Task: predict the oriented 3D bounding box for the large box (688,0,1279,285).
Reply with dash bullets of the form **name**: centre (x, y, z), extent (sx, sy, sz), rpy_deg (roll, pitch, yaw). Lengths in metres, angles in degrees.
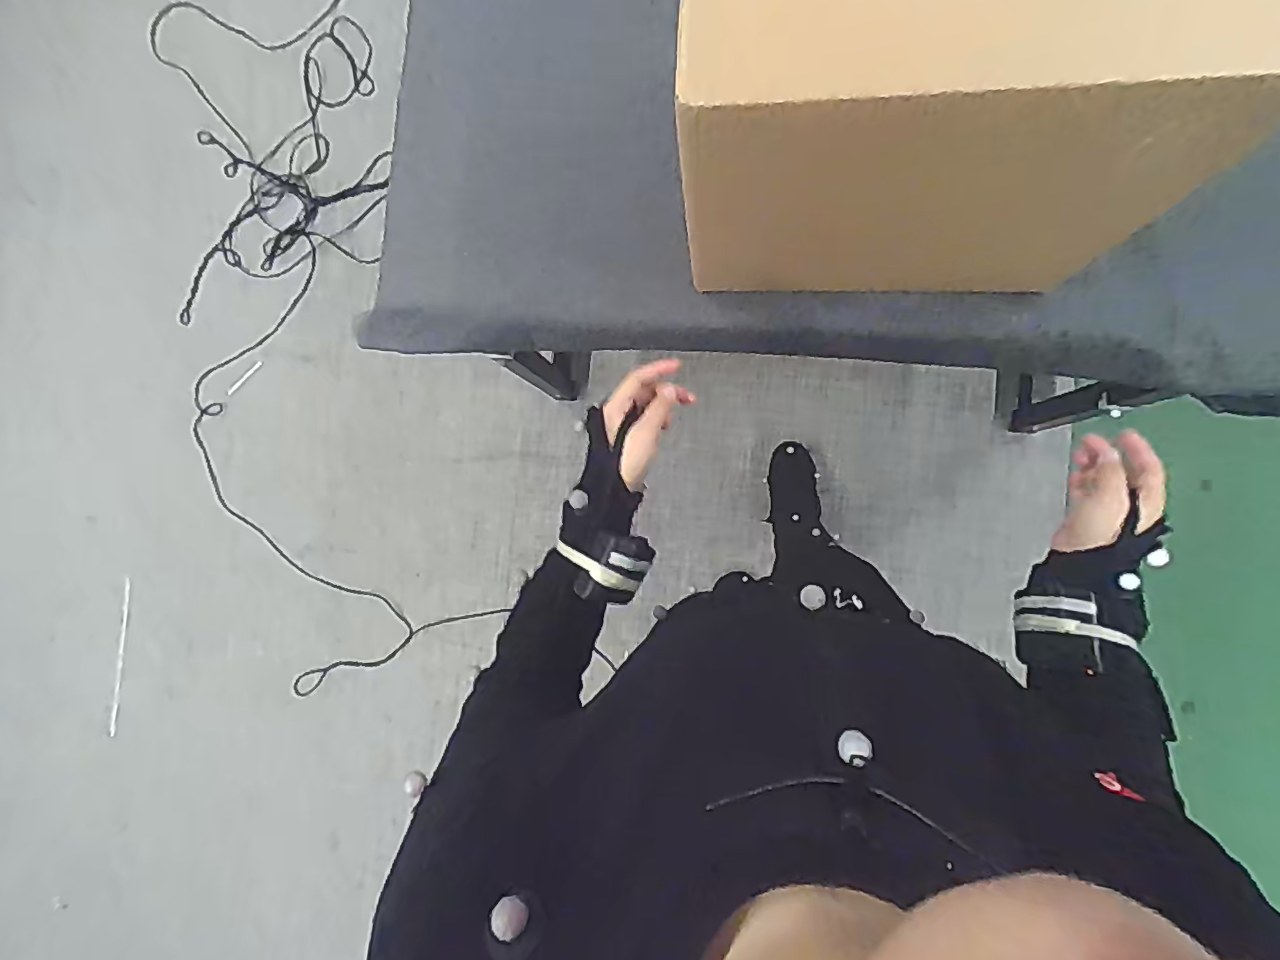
- **large box**: centre (0.252, -0.397, 0.506), extent (0.408, 0.320, 0.320), rpy_deg (2, 87, 7)
